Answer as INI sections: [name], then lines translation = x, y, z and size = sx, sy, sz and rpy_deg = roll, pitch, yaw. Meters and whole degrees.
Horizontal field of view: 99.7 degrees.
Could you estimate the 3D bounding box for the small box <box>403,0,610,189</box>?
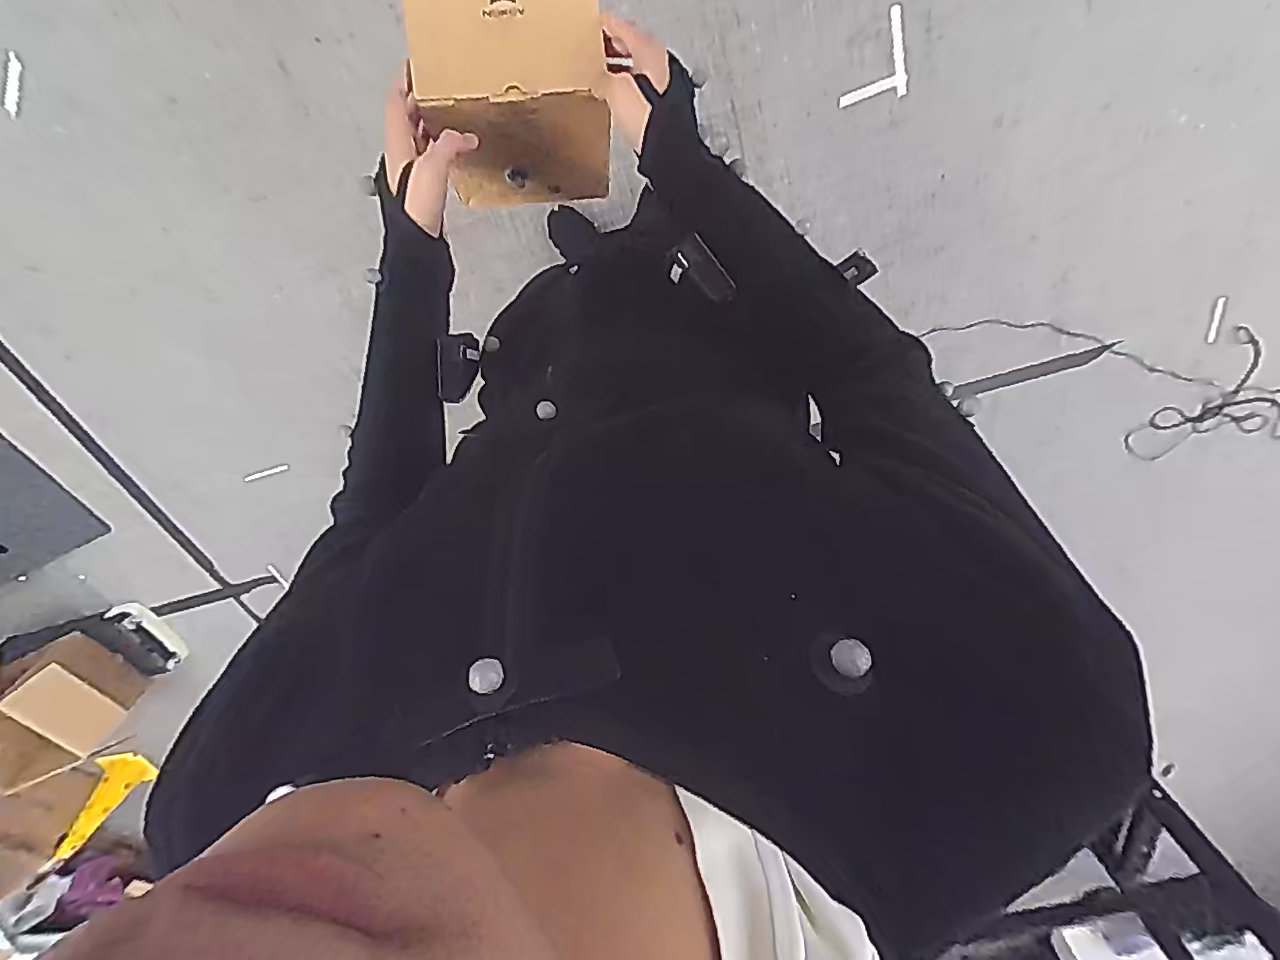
[small box]
translation = -0.123, -0.418, 0.526
size = 0.168, 0.176, 0.179
rpy_deg = -7, 90, -5
